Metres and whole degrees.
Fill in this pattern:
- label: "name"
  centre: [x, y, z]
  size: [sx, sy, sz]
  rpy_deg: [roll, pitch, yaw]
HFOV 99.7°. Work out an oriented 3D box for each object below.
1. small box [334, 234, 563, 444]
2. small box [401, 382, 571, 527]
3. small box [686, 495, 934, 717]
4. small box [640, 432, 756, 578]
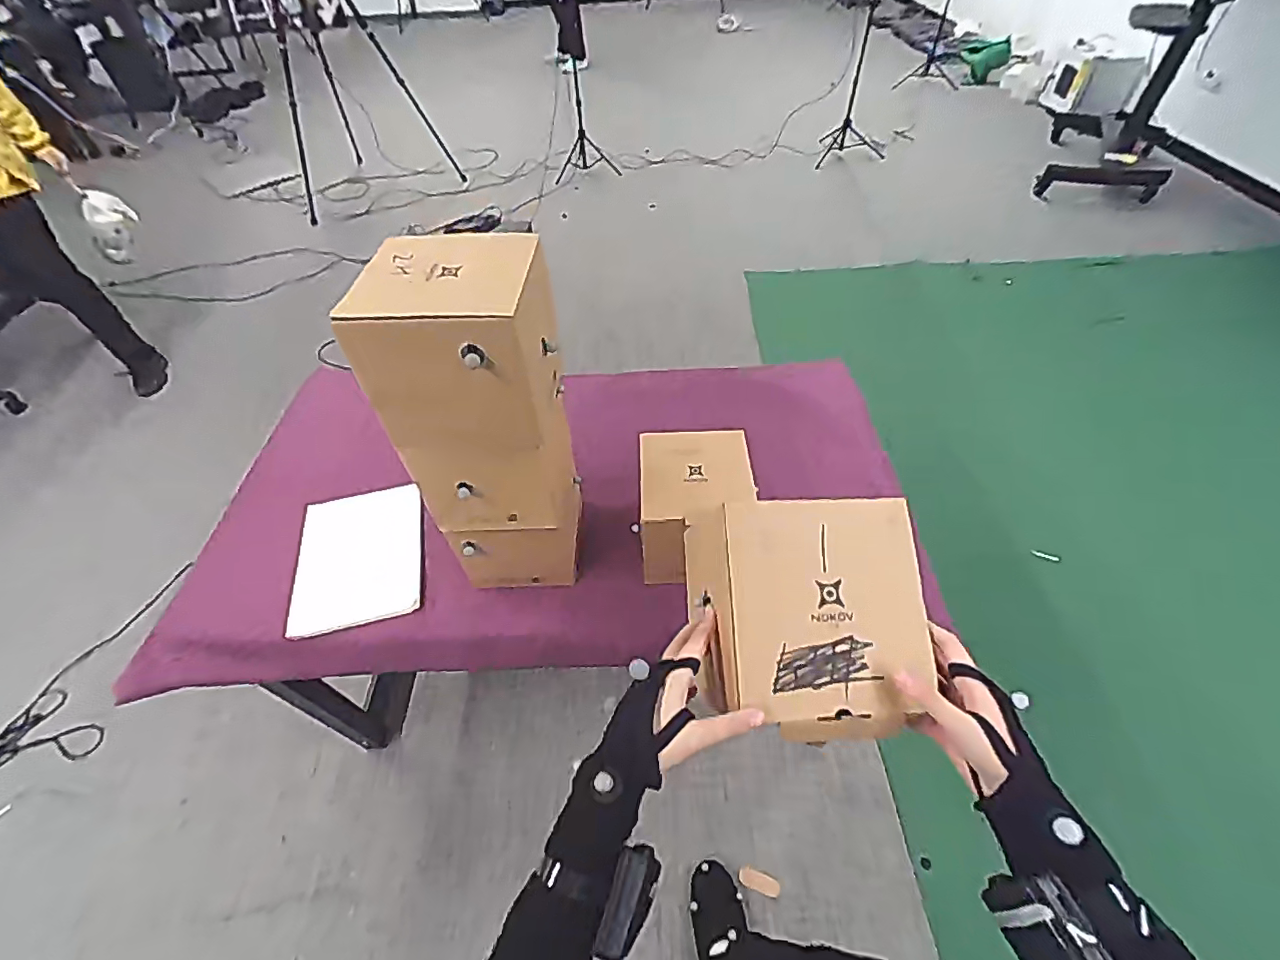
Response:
- label: "small box"
  centre: [-0.188, -0.152, 0.602]
  size: [0.179, 0.176, 0.168]
  rpy_deg: [0, 48, 3]
- label: "small box"
  centre: [-0.190, -0.048, 0.730]
  size: [0.168, 0.176, 0.179]
  rpy_deg: [-1, 48, 2]
- label: "small box"
  centre: [0.142, 0.116, 0.517]
  size: [0.168, 0.176, 0.179]
  rpy_deg: [0, 75, -7]
- label: "small box"
  centre: [0.086, 0.045, 0.852]
  size: [0.168, 0.176, 0.179]
  rpy_deg: [-1, 48, 1]
